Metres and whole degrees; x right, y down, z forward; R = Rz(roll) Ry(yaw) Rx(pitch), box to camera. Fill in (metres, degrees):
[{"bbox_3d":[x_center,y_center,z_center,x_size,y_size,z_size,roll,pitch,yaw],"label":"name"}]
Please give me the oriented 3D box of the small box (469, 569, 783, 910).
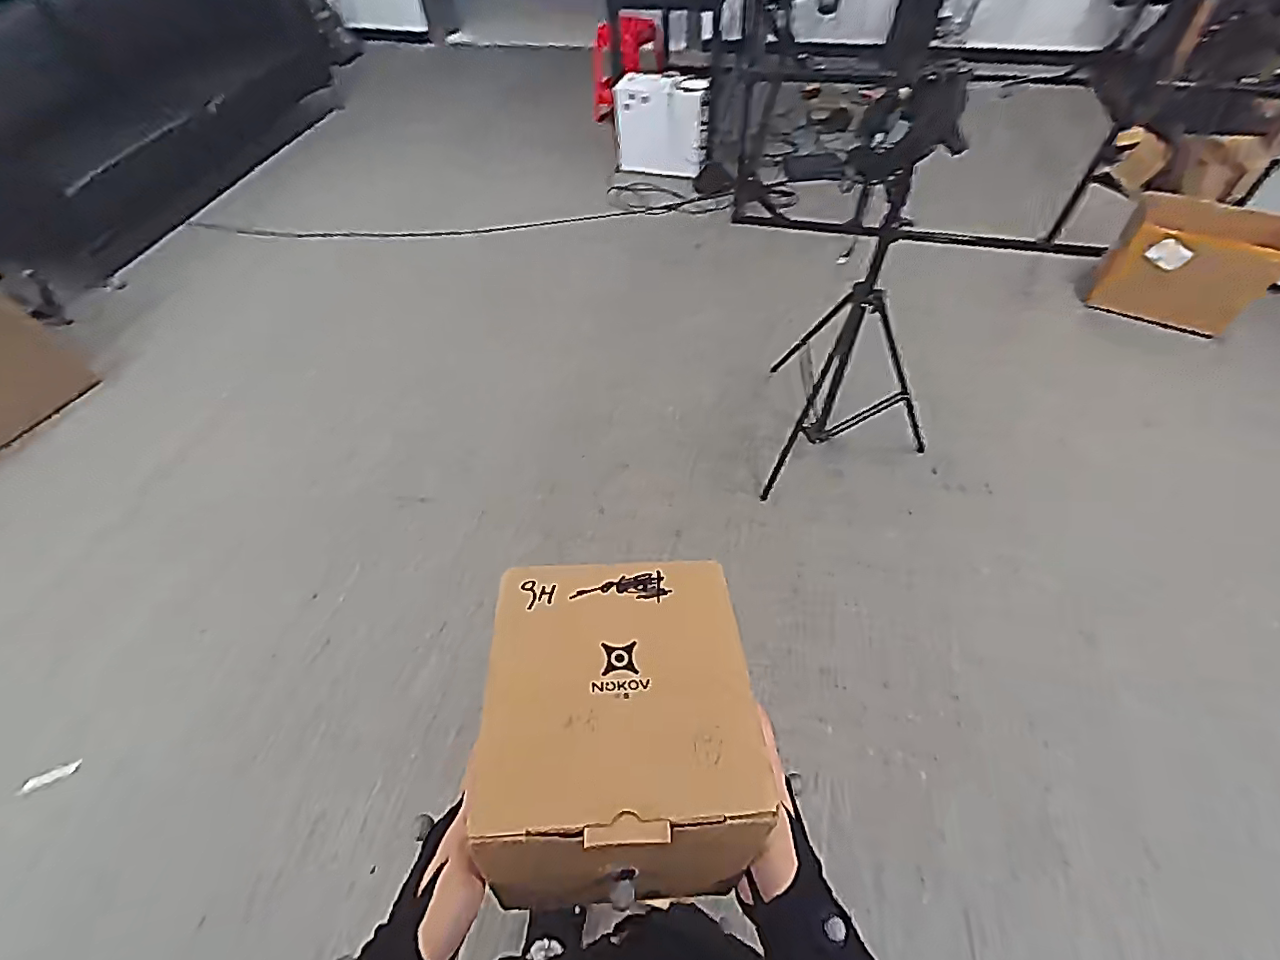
[{"bbox_3d":[-0.014,0.186,0.388,0.168,0.176,0.179,-1,43,-6],"label":"small box"}]
